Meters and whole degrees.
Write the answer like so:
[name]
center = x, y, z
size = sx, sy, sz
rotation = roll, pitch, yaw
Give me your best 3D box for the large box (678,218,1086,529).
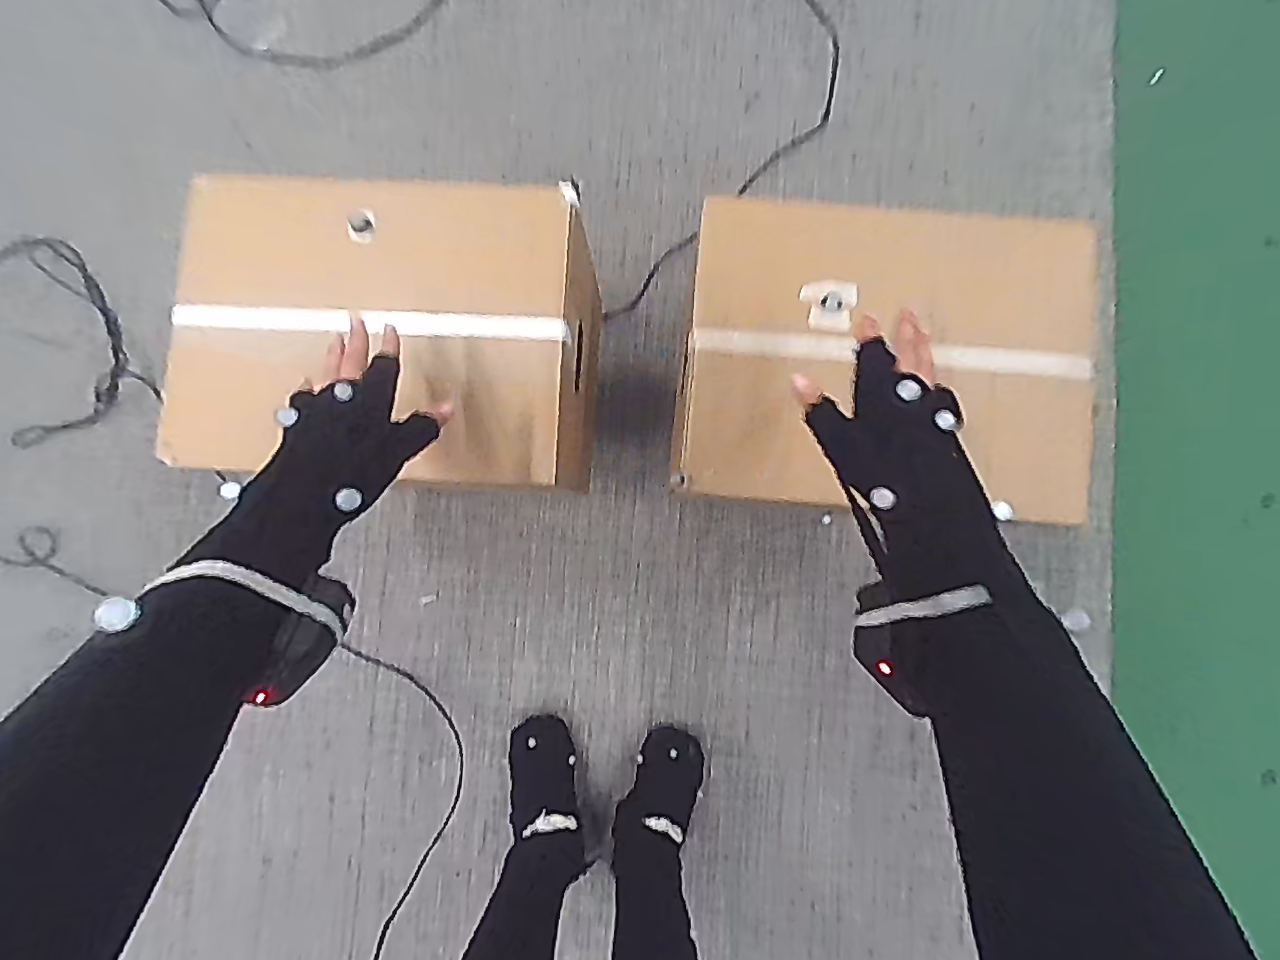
[large box]
center = 0.268, -0.111, 0.720
size = 0.408, 0.320, 0.320
rotation = 5, 86, 2
